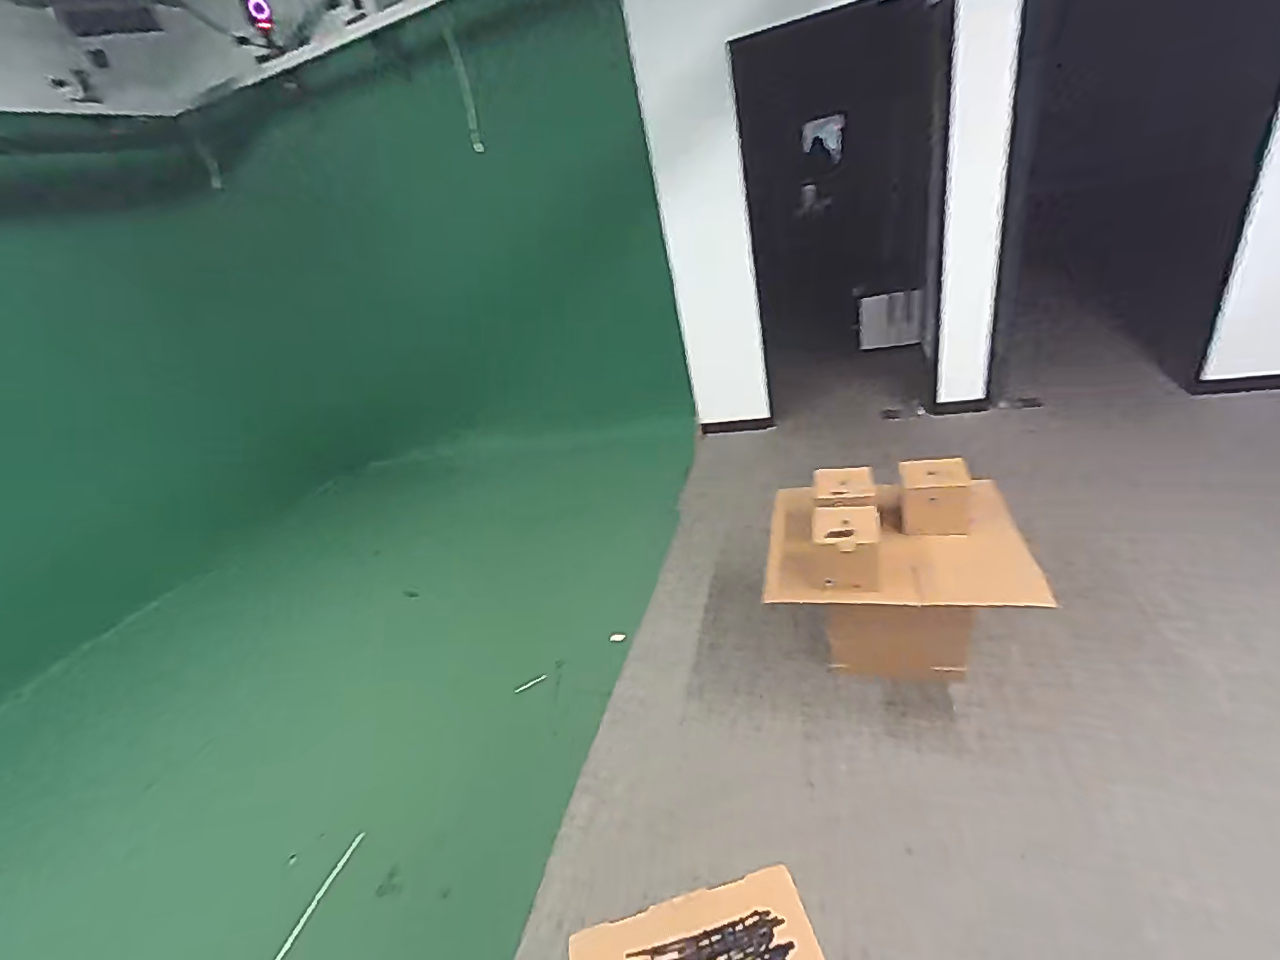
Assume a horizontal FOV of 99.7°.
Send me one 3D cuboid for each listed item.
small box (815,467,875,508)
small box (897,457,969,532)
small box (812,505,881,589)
[{"bbox_3d":[0.640,0.077,1.696,0.168,0.176,0.179,-5,28,19],"label":"small box"},{"bbox_3d":[0.884,0.048,1.634,0.179,0.176,0.168,-4,30,23],"label":"small box"},{"bbox_3d":[0.578,0.191,1.515,0.168,0.176,0.179,-3,29,21],"label":"small box"}]
